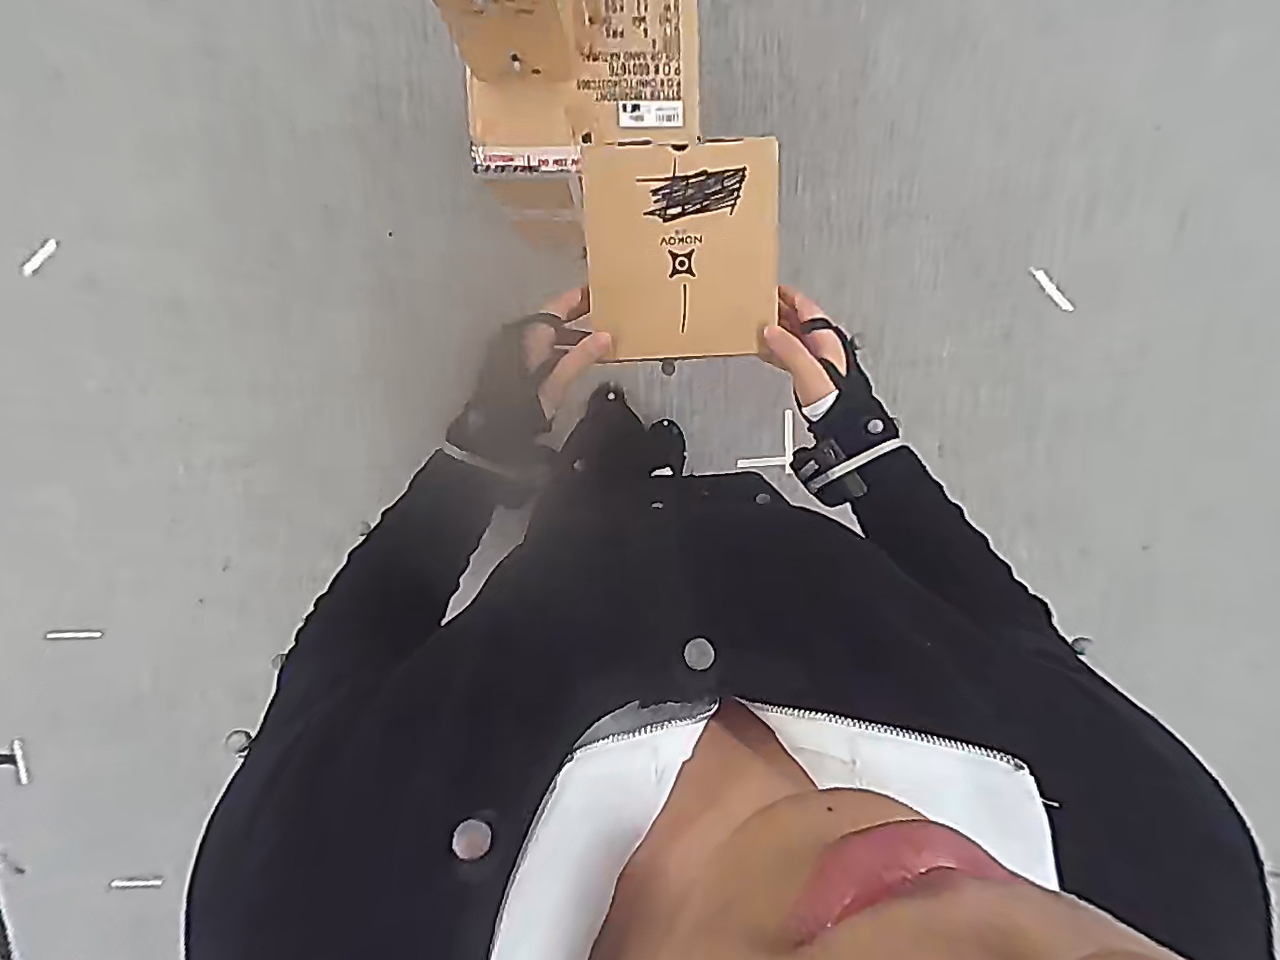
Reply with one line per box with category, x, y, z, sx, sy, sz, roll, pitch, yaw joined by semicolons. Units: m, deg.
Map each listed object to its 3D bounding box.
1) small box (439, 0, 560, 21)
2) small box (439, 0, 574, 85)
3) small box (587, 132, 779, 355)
small box;-0.189;-0.696;0.639;0.168;0.176;0.179;0;101;1
small box;-0.191;-0.725;0.798;0.168;0.176;0.179;-1;100;1
small box;0.034;-0.220;0.545;0.168;0.176;0.179;-3;103;-1
